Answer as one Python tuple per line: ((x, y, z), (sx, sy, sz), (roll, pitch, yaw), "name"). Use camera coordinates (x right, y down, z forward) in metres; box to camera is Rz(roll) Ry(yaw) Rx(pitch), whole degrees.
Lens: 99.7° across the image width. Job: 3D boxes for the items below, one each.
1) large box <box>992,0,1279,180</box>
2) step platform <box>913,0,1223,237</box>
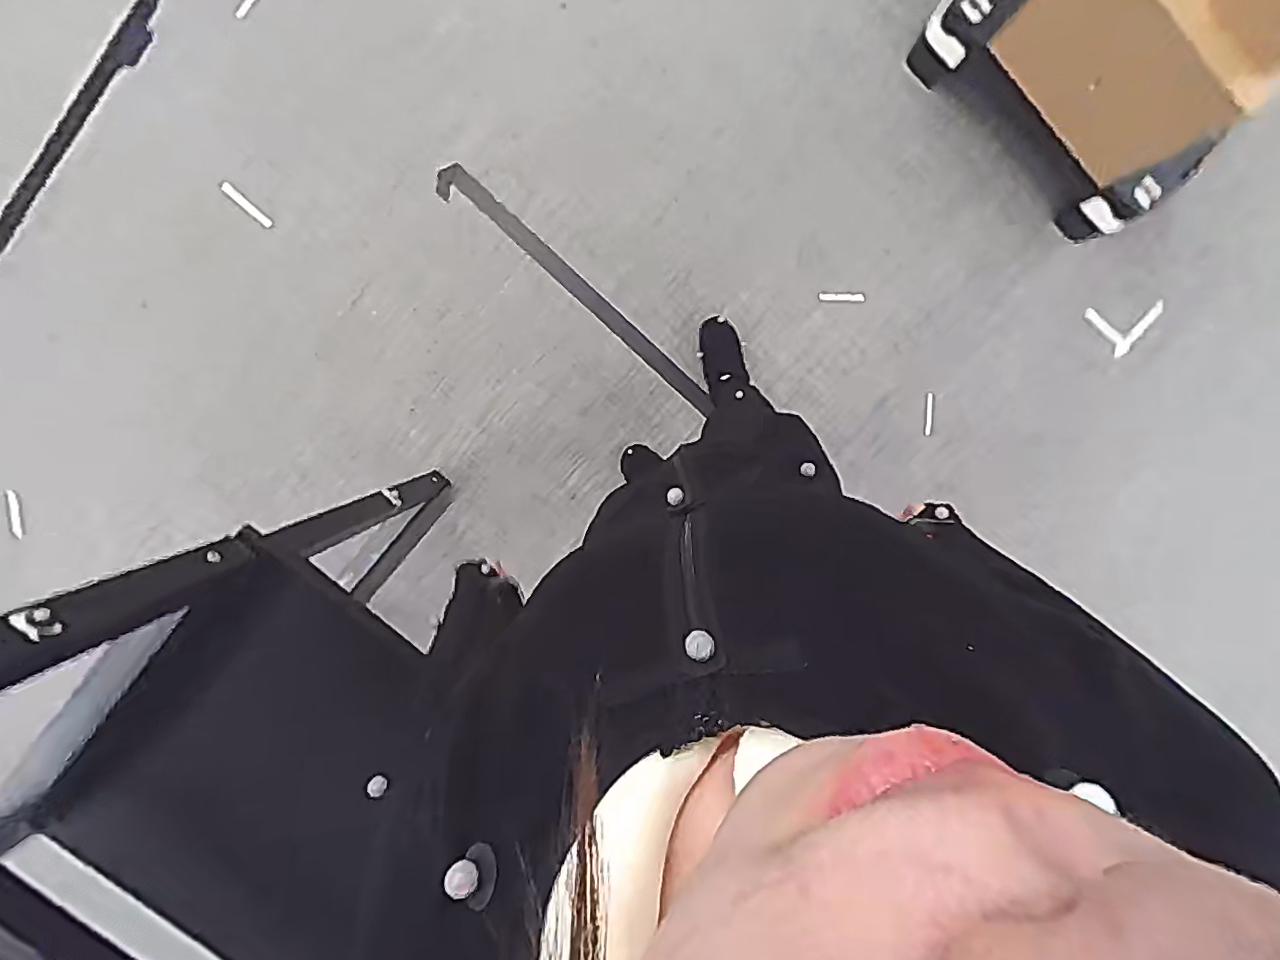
((0.993, -0.877, 1.015), (0.408, 0.320, 0.320), (45, 95, -4), "large box")
((0.973, -0.926, 1.249), (0.286, 0.204, 0.684), (-43, 95, 6), "step platform")
